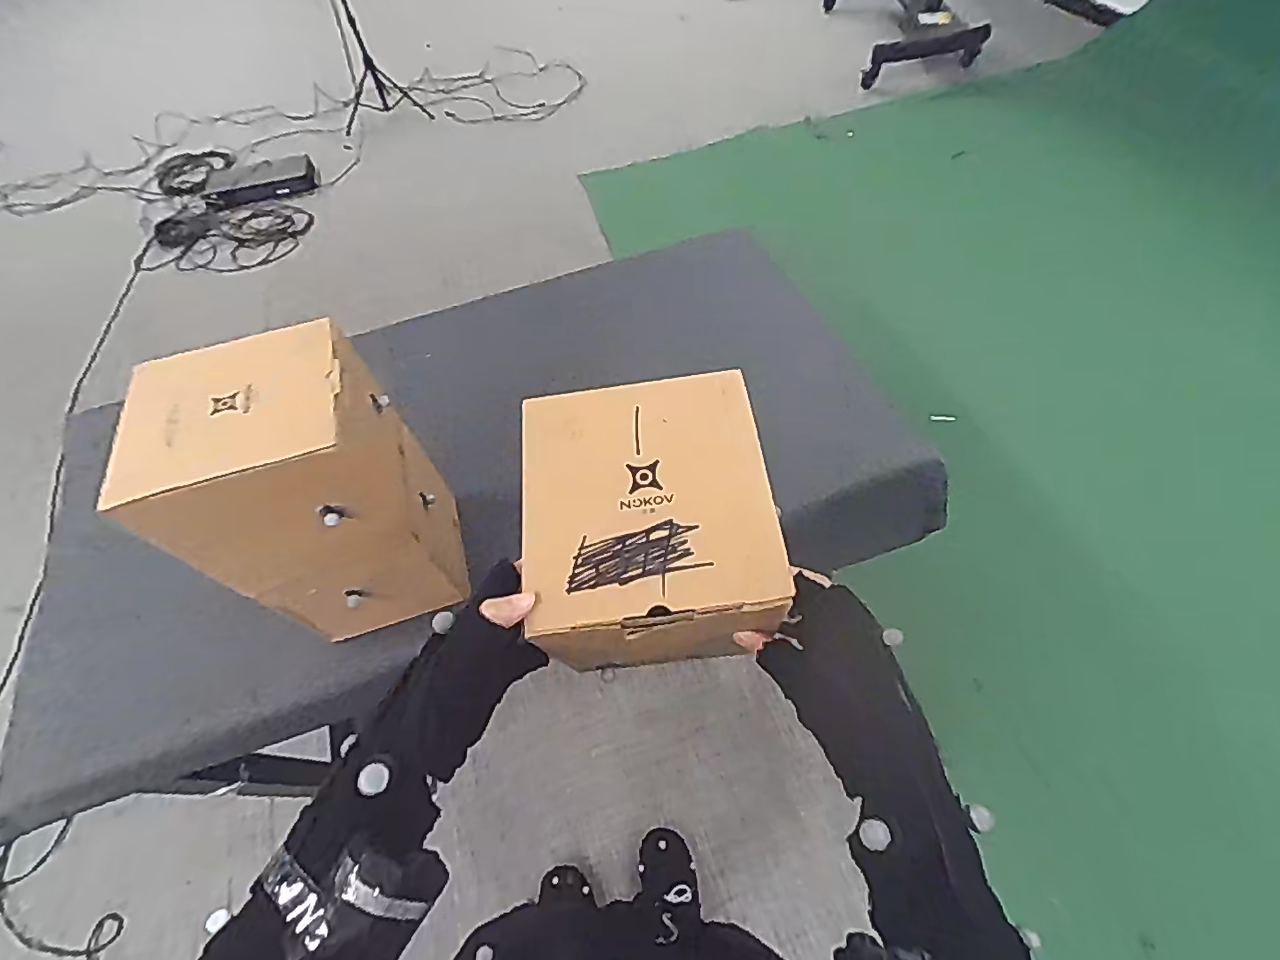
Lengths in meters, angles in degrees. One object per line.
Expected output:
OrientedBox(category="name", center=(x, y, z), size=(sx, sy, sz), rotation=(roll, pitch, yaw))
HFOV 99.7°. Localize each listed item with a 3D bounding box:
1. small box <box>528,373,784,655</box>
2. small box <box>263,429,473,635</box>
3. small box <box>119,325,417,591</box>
OrientedBox(category="small box", center=(0.012, 0.041, 0.444), size=(0.168, 0.176, 0.179), rotation=(-7, 62, 3))
OrientedBox(category="small box", center=(-0.327, 0.071, 0.668), size=(0.179, 0.176, 0.168), rotation=(-17, 57, -7))
OrientedBox(category="small box", center=(-0.335, -0.016, 0.531), size=(0.179, 0.176, 0.168), rotation=(-18, 56, -7))
